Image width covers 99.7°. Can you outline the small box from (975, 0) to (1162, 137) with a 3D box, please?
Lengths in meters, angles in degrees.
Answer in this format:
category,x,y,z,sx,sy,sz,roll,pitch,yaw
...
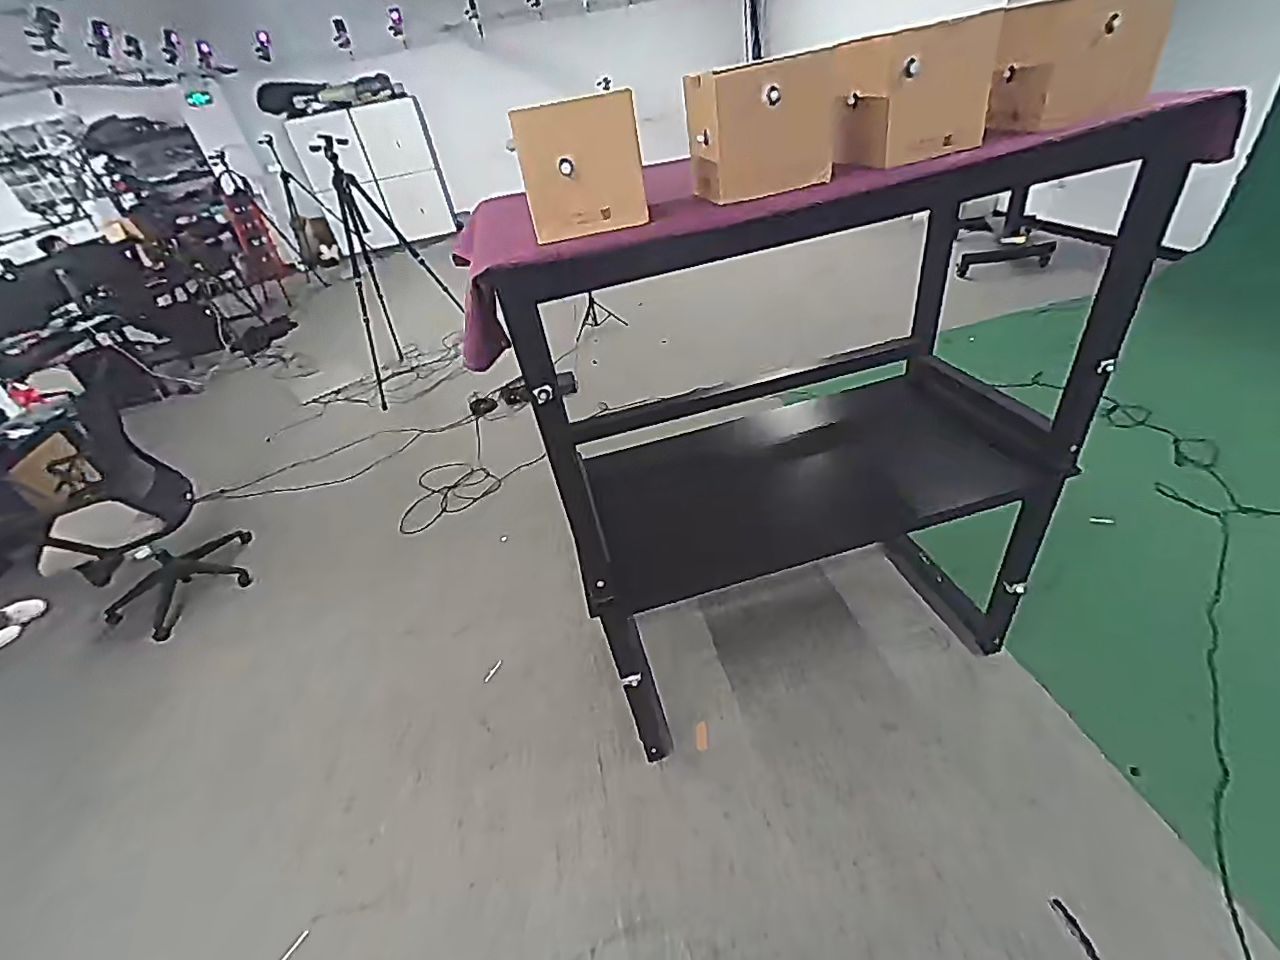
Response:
category,x,y,z,sx,sy,sz,roll,pitch,yaw
small box,0.675,-0.670,0.871,0.179,0.176,0.168,-14,37,-1

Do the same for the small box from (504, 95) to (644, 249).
category,x,y,z,sx,sy,sz,roll,pitch,yaw
small box,-0.095,-0.458,0.812,0.168,0.176,0.179,-13,34,-2
